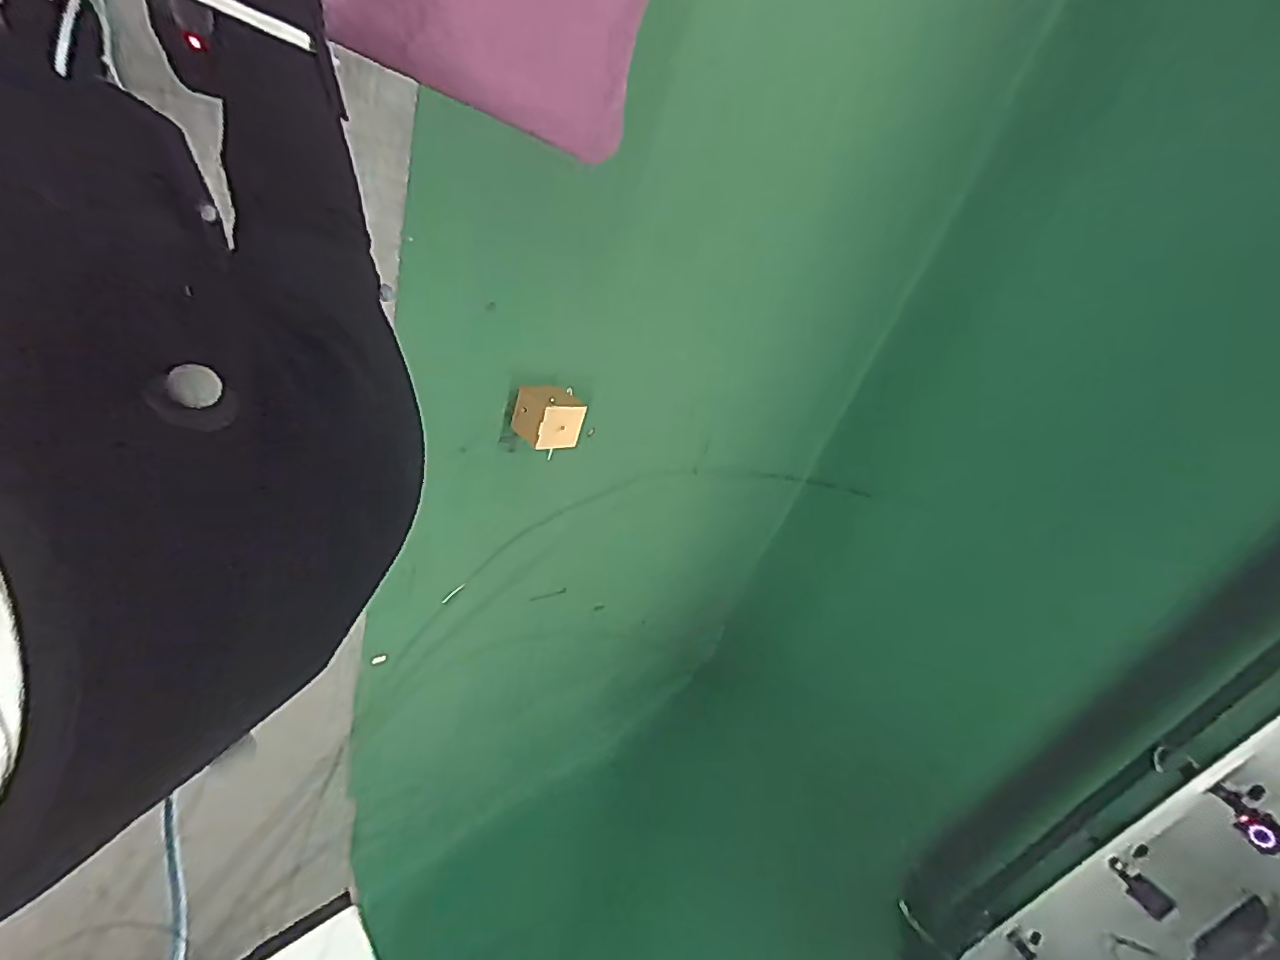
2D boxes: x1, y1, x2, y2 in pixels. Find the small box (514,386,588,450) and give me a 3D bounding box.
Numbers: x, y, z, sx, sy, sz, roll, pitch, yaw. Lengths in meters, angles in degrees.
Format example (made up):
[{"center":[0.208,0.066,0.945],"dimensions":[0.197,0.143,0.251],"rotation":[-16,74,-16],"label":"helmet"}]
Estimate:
[{"center":[-0.317,-0.223,1.912],"dimensions":[0.179,0.176,0.168],"rotation":[-9,128,-44],"label":"small box"}]
